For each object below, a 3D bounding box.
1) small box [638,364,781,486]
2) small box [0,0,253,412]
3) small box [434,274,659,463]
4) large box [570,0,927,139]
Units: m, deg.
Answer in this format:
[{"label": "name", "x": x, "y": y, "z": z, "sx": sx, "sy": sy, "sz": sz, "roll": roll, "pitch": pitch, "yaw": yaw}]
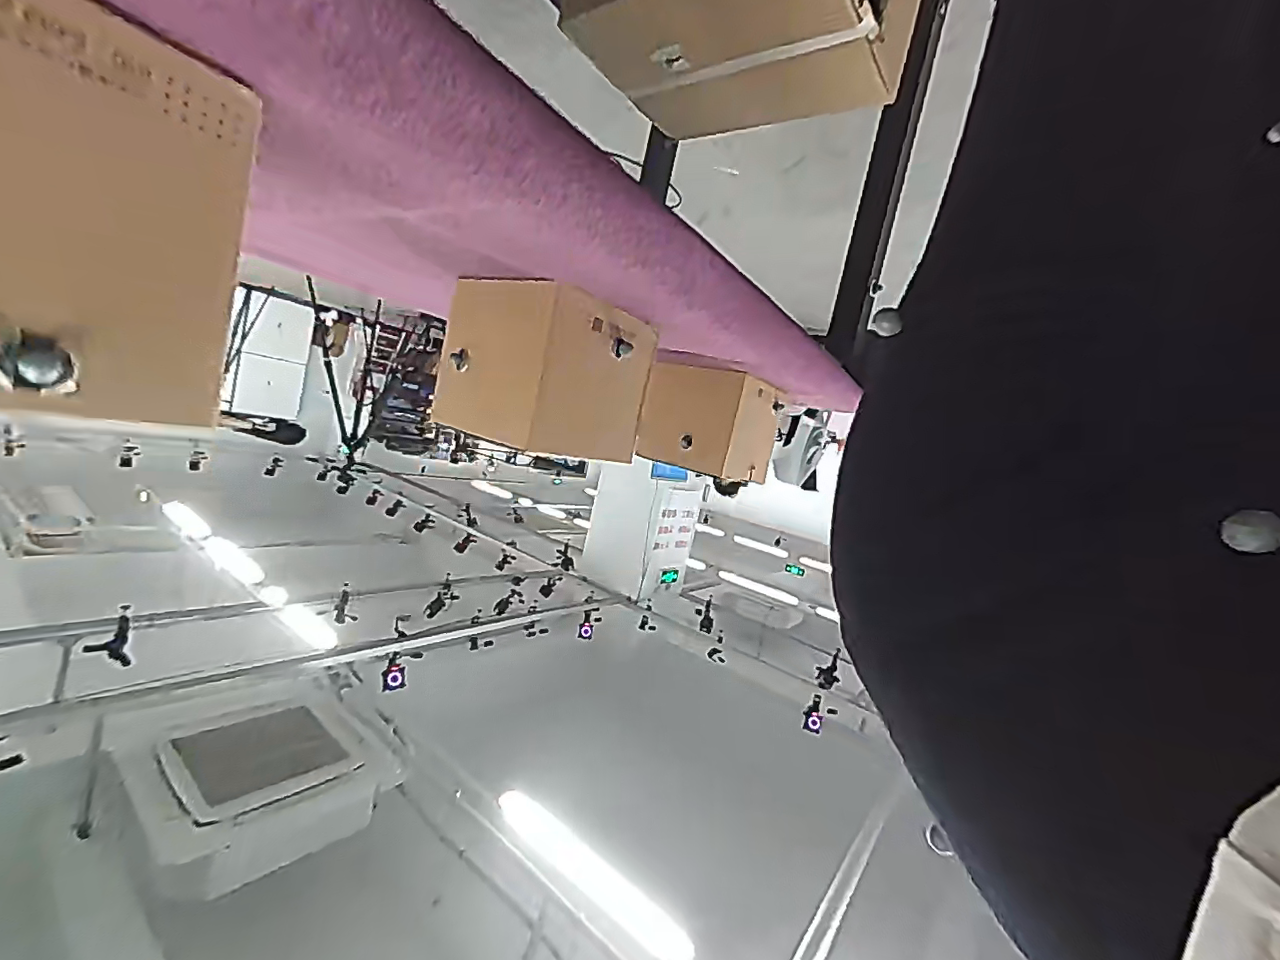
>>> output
[{"label": "small box", "x": 0.126, "y": -0.095, "z": 0.926, "sx": 0.179, "sy": 0.176, "sz": 0.168, "roll": 18, "pitch": -174, "yaw": 37}, {"label": "small box", "x": -0.308, "y": -0.141, "z": 0.245, "sx": 0.179, "sy": 0.176, "sz": 0.168, "roll": 19, "pitch": -171, "yaw": 33}, {"label": "small box", "x": -0.103, "y": -0.126, "z": 0.620, "sx": 0.179, "sy": 0.176, "sz": 0.168, "roll": 17, "pitch": -173, "yaw": 36}, {"label": "large box", "x": 0.171, "y": -0.755, "z": 0.772, "sx": 0.408, "sy": 0.320, "sz": 0.320, "roll": 18, "pitch": -175, "yaw": 37}]
